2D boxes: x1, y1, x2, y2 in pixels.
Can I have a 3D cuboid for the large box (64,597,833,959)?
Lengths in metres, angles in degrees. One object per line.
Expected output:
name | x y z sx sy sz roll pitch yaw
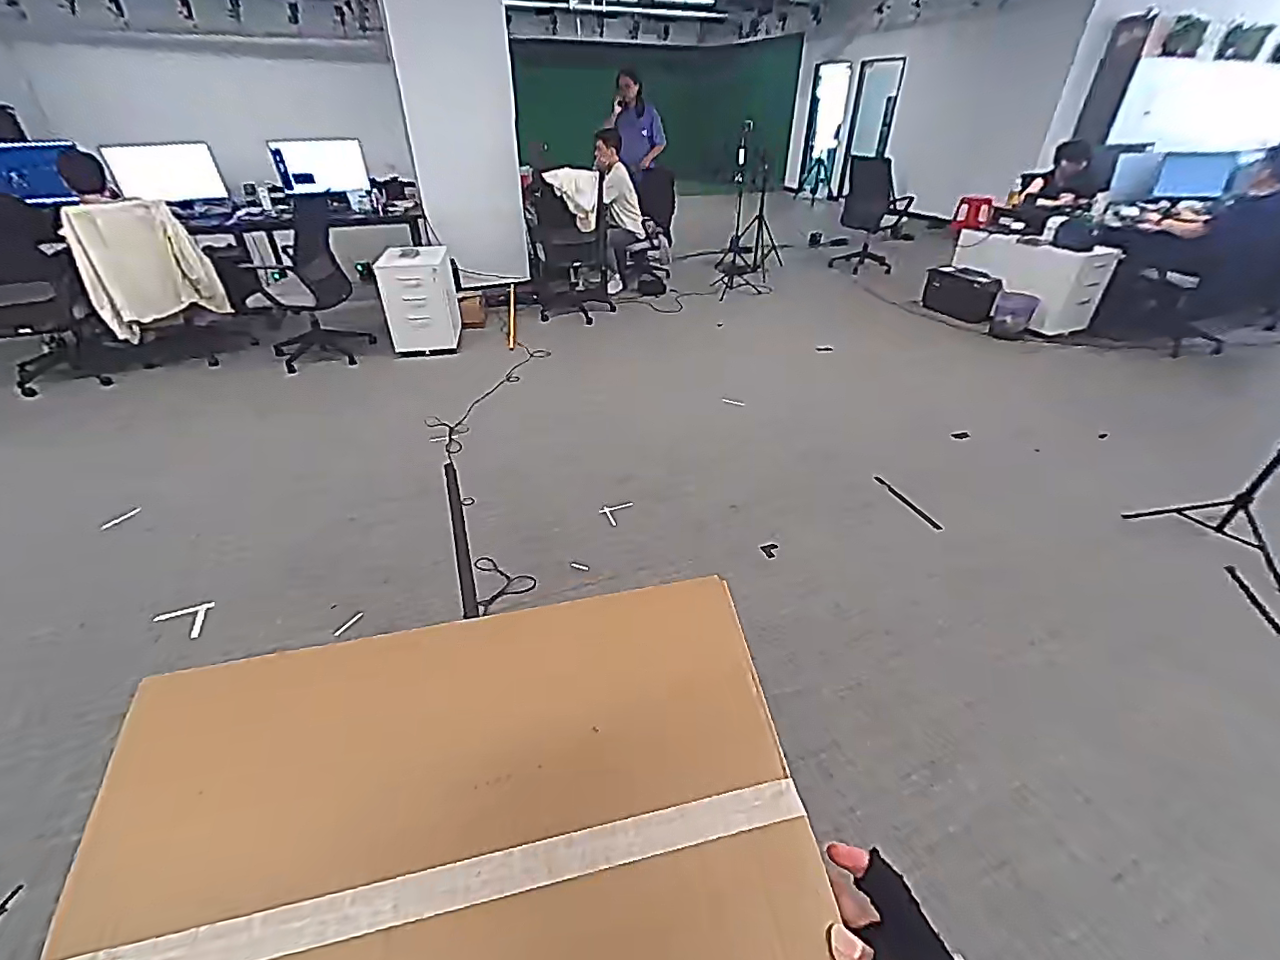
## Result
large box | -0.107 0.330 0.420 0.408 0.320 0.320 -9 52 -9
